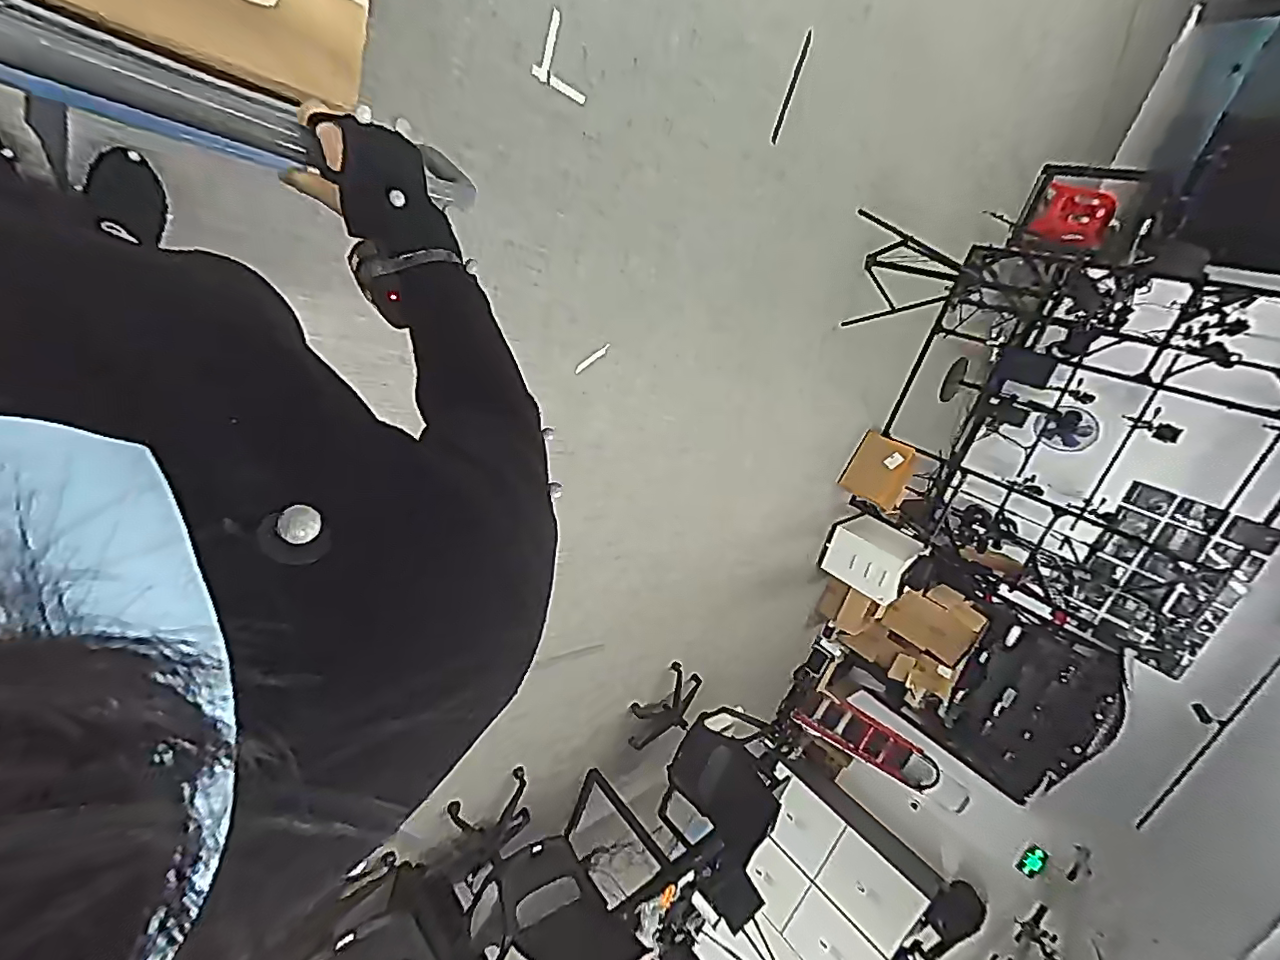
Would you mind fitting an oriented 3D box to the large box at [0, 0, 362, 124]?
[{"bbox_3d":[-0.627,-0.715,0.701,0.408,0.320,0.320,-4,118,-47],"label":"large box"}]
